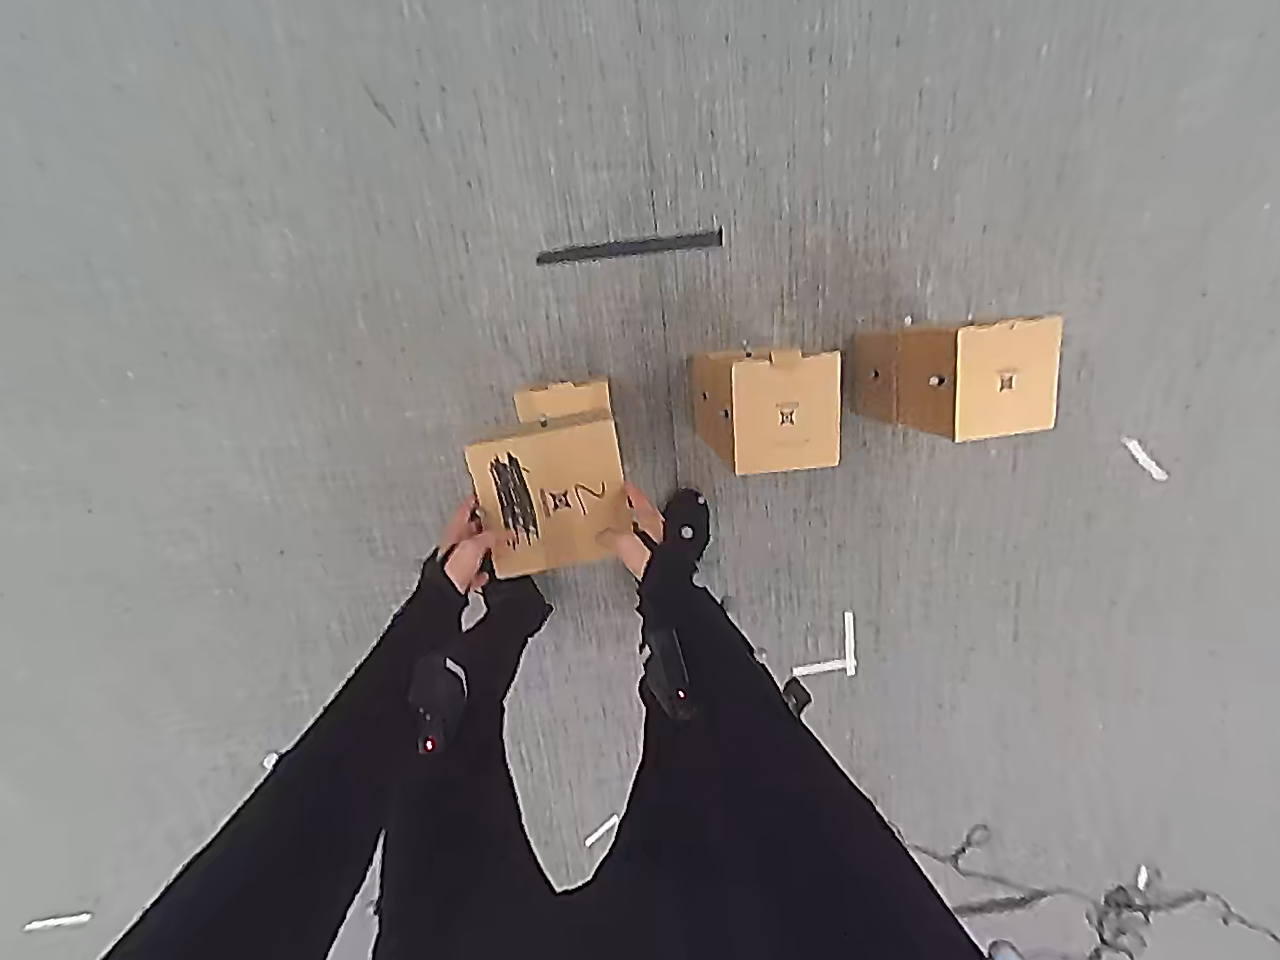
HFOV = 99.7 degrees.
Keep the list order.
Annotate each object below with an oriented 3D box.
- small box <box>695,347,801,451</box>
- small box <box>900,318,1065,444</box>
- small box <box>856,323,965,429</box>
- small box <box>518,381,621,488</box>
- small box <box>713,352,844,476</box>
[{"bbox_3d":[0.201,-0.161,1.039,0.168,0.176,0.179,-5,105,-3],"label":"small box"},{"bbox_3d":[0.555,-0.169,0.899,0.168,0.176,0.179,-8,104,-3],"label":"small box"},{"bbox_3d":[0.538,-0.208,1.056,0.168,0.176,0.179,-9,104,-3],"label":"small box"},{"bbox_3d":[-0.129,-0.094,1.031,0.168,0.176,0.179,-7,104,-2],"label":"small box"},{"bbox_3d":[0.216,-0.114,0.882,0.168,0.176,0.179,-5,104,-3],"label":"small box"}]
